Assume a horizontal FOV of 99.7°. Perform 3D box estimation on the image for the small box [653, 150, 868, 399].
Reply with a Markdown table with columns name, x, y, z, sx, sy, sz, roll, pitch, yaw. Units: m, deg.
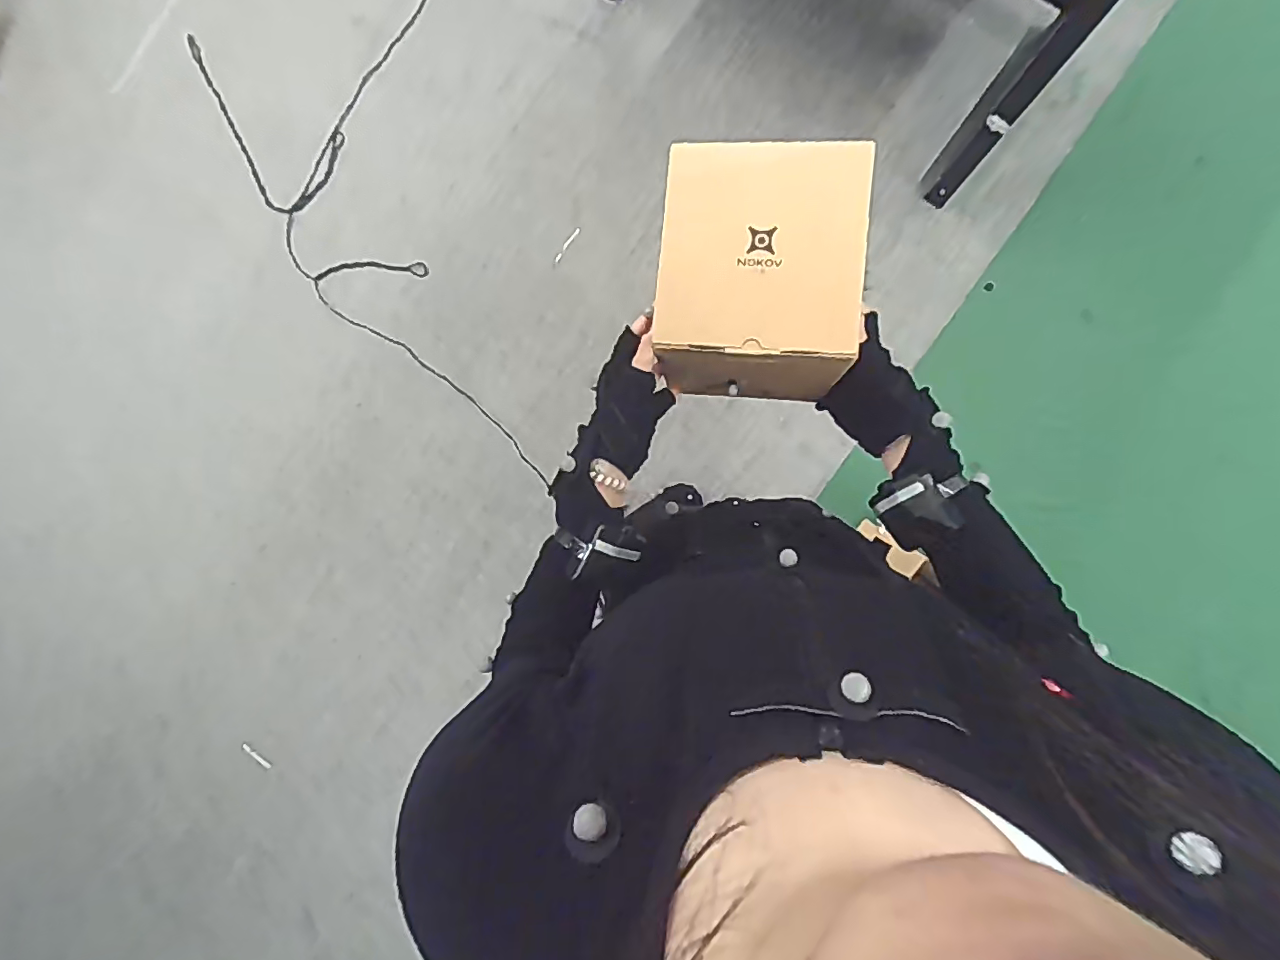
| name | x | y | z | sx | sy | sz | roll | pitch | yaw |
| --- | --- | --- | --- | --- | --- | --- | --- | --- | --- |
| small box | 0.110 | -0.187 | 0.531 | 0.168 | 0.176 | 0.179 | 5 | 89 | 9 |
